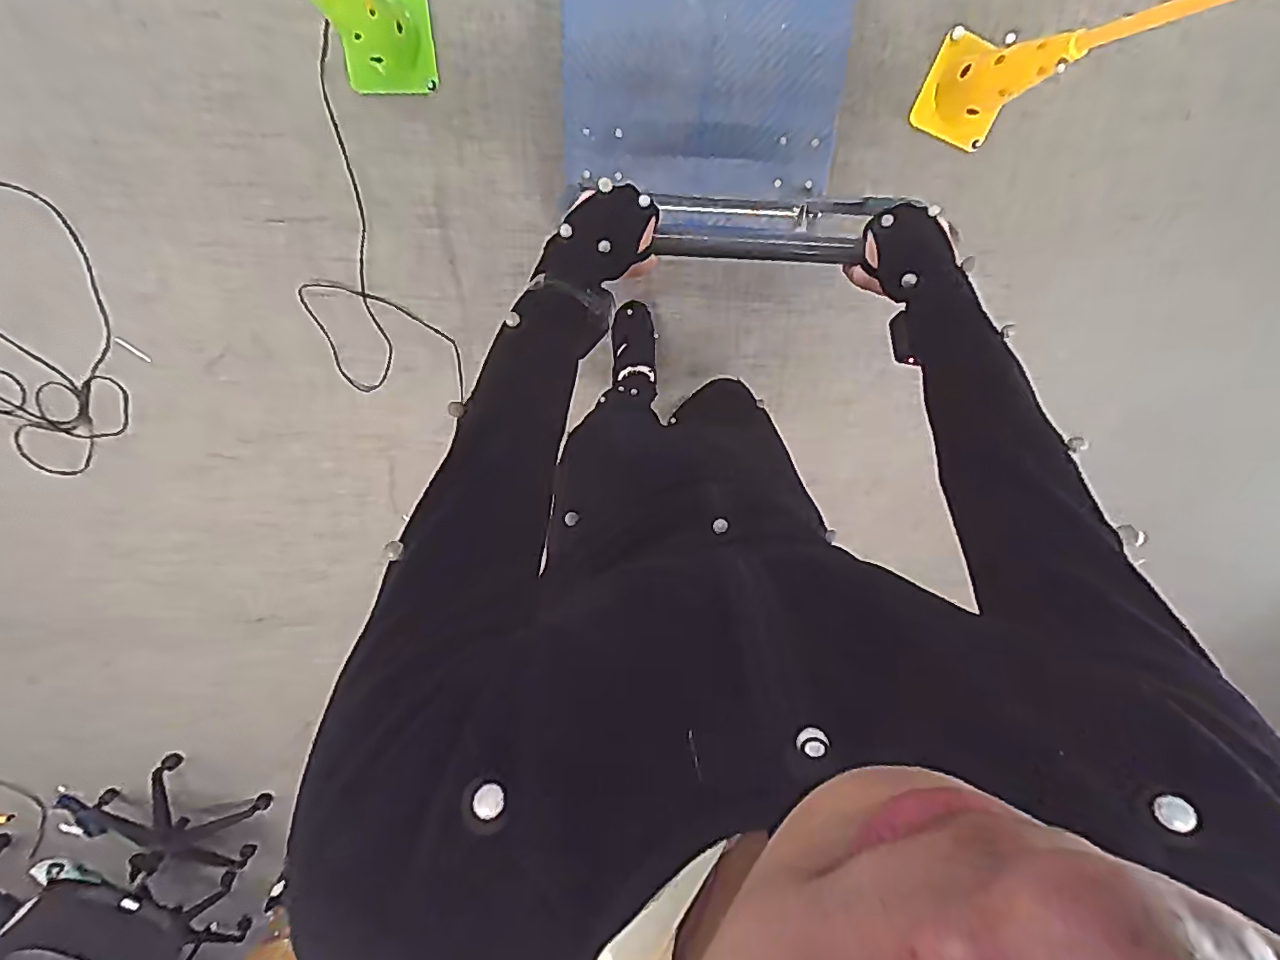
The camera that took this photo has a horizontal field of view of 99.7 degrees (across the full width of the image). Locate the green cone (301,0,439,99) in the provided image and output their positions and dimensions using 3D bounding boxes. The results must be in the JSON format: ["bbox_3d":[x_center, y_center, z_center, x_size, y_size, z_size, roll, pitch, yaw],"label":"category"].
[{"bbox_3d":[-0.557,-0.897,1.040,0.202,0.368,0.200,-1,114,1],"label":"green cone"}]
